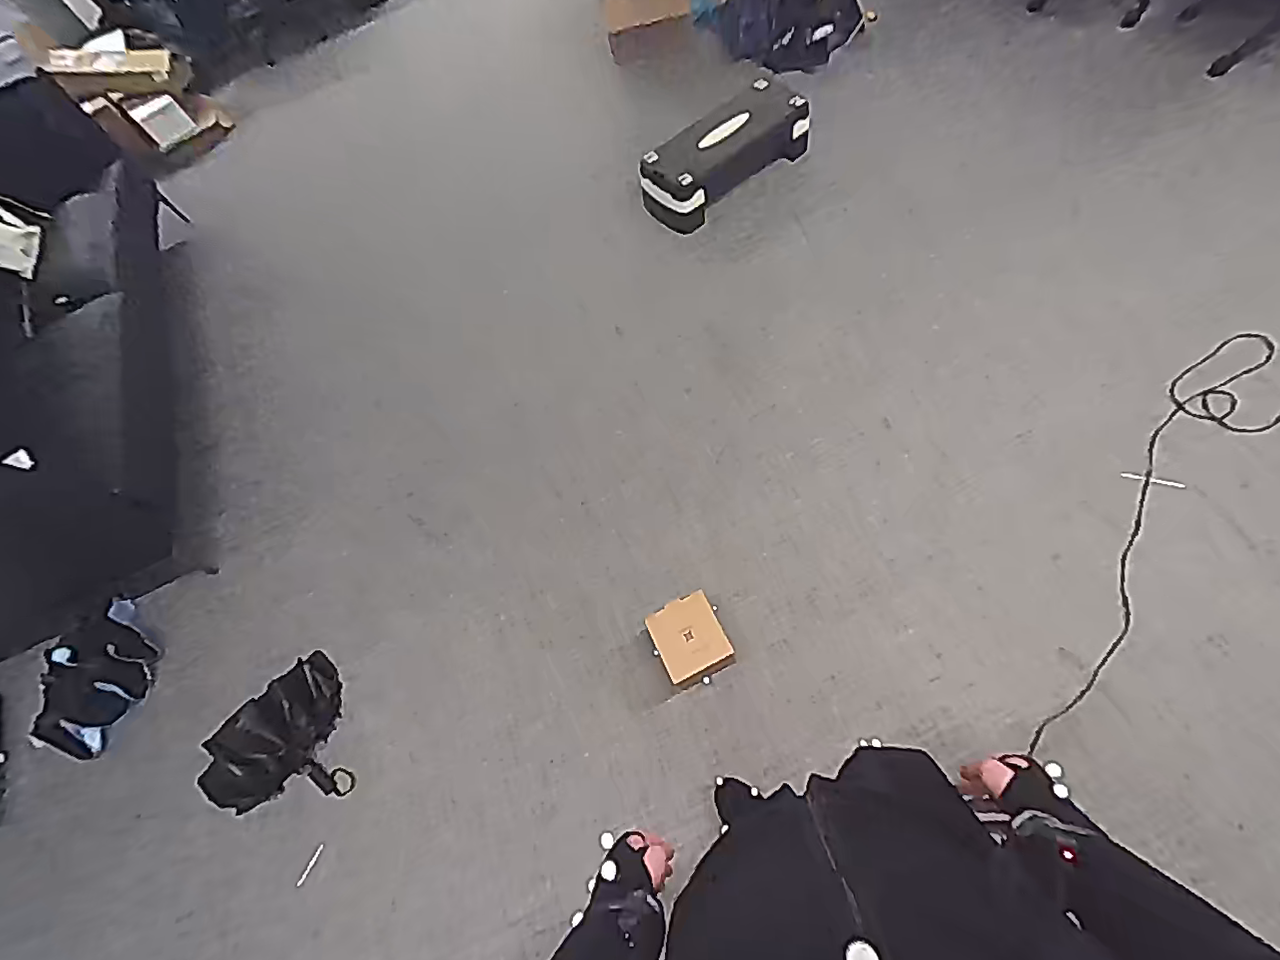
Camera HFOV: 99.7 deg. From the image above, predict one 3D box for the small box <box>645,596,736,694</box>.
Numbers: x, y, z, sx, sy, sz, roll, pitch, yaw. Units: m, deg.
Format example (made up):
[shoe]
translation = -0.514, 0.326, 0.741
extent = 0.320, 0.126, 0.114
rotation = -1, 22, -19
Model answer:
[small box]
translation = 0.132, 0.426, 1.383
extent = 0.168, 0.176, 0.179
rotation = -27, 63, -2
